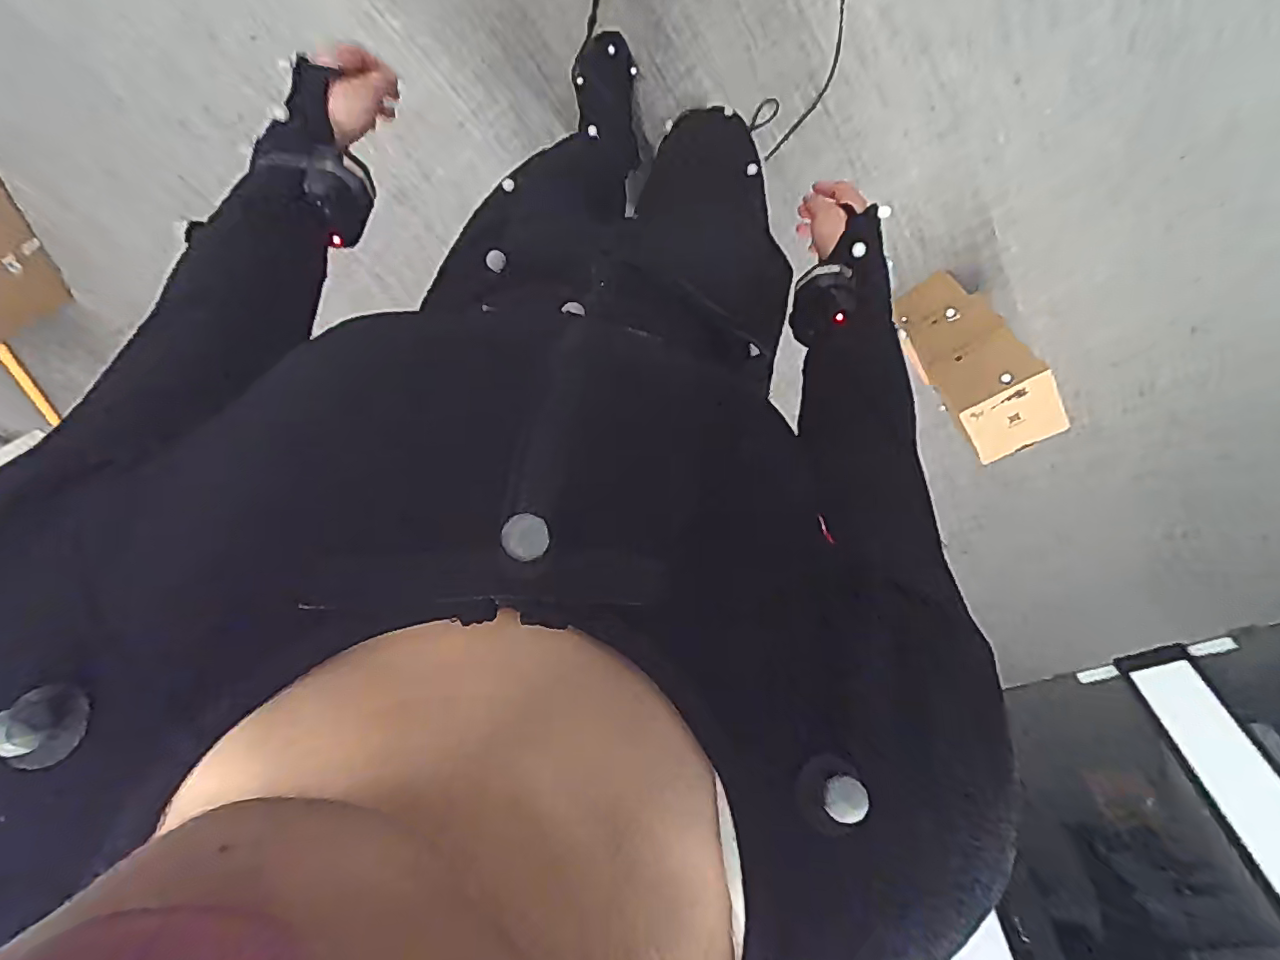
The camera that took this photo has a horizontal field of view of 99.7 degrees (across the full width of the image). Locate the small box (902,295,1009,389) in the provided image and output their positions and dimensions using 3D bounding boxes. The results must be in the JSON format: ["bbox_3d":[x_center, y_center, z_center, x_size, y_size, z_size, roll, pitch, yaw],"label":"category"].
[{"bbox_3d":[0.738,-0.290,1.250,0.168,0.176,0.179,-30,126,25],"label":"small box"}]

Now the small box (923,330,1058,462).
[{"bbox_3d":[0.727,-0.176,1.132,0.168,0.176,0.179,-29,128,25],"label":"small box"}]
